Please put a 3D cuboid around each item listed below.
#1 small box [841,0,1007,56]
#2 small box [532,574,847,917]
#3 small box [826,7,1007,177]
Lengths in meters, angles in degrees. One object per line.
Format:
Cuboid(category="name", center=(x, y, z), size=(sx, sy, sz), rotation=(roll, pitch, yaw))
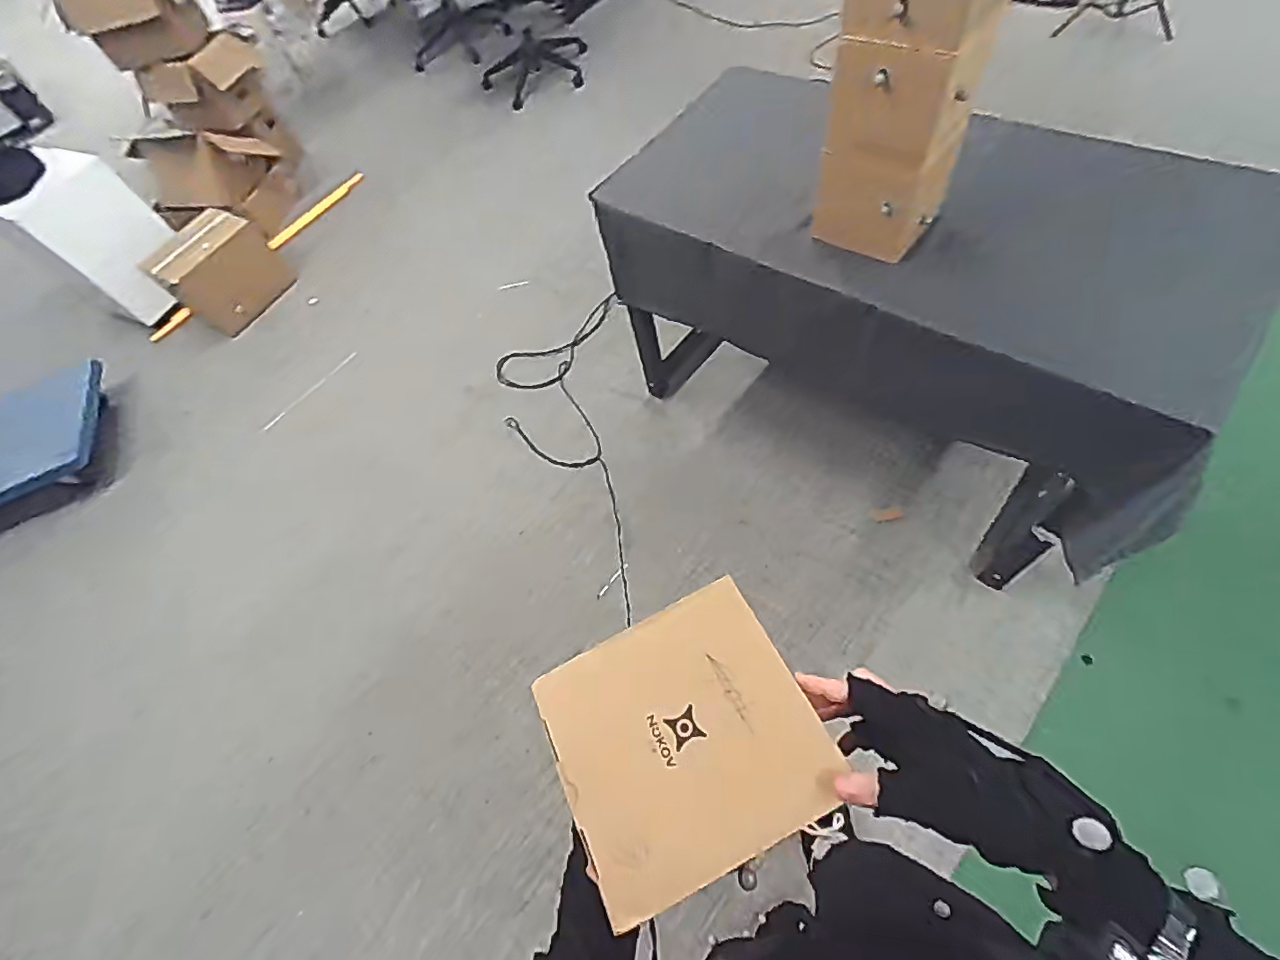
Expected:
Cuboid(category="small box", center=(0.392, -0.695, 0.706), size=(0.179, 0.176, 0.168), rotation=(35, 72, 26))
Cuboid(category="small box", center=(0.042, 0.212, 0.441), size=(0.179, 0.176, 0.168), rotation=(-27, 55, -4))
Cuboid(category="small box", center=(0.416, -0.608, 0.843), size=(0.179, 0.176, 0.168), rotation=(33, 71, 25))
